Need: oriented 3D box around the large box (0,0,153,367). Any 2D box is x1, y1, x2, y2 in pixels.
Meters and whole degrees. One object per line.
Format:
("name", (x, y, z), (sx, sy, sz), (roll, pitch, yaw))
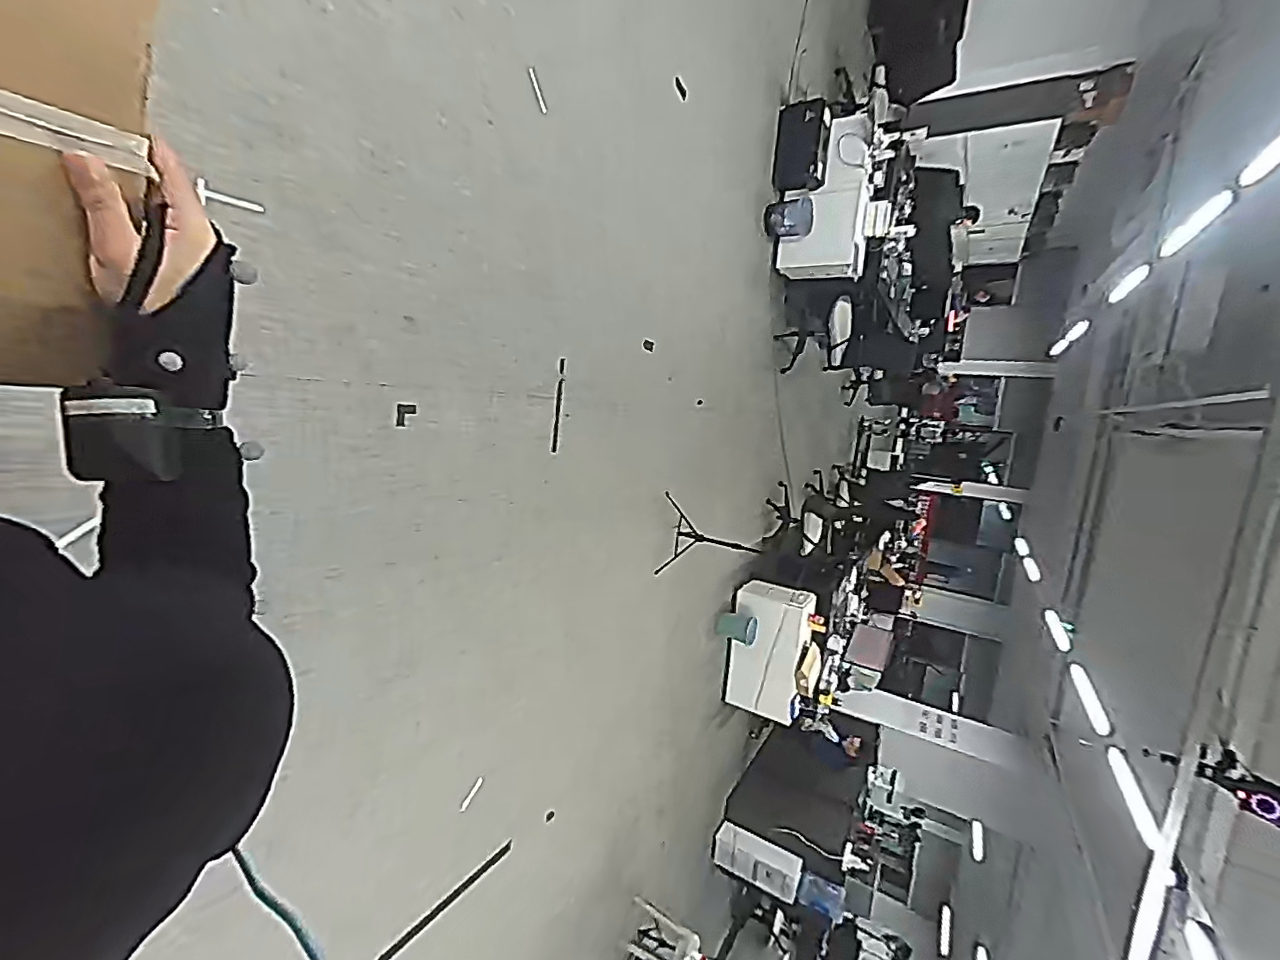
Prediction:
("large box", (-0.527, -0.265, 0.229), (0.408, 0.320, 0.320), (-11, 133, -58))
